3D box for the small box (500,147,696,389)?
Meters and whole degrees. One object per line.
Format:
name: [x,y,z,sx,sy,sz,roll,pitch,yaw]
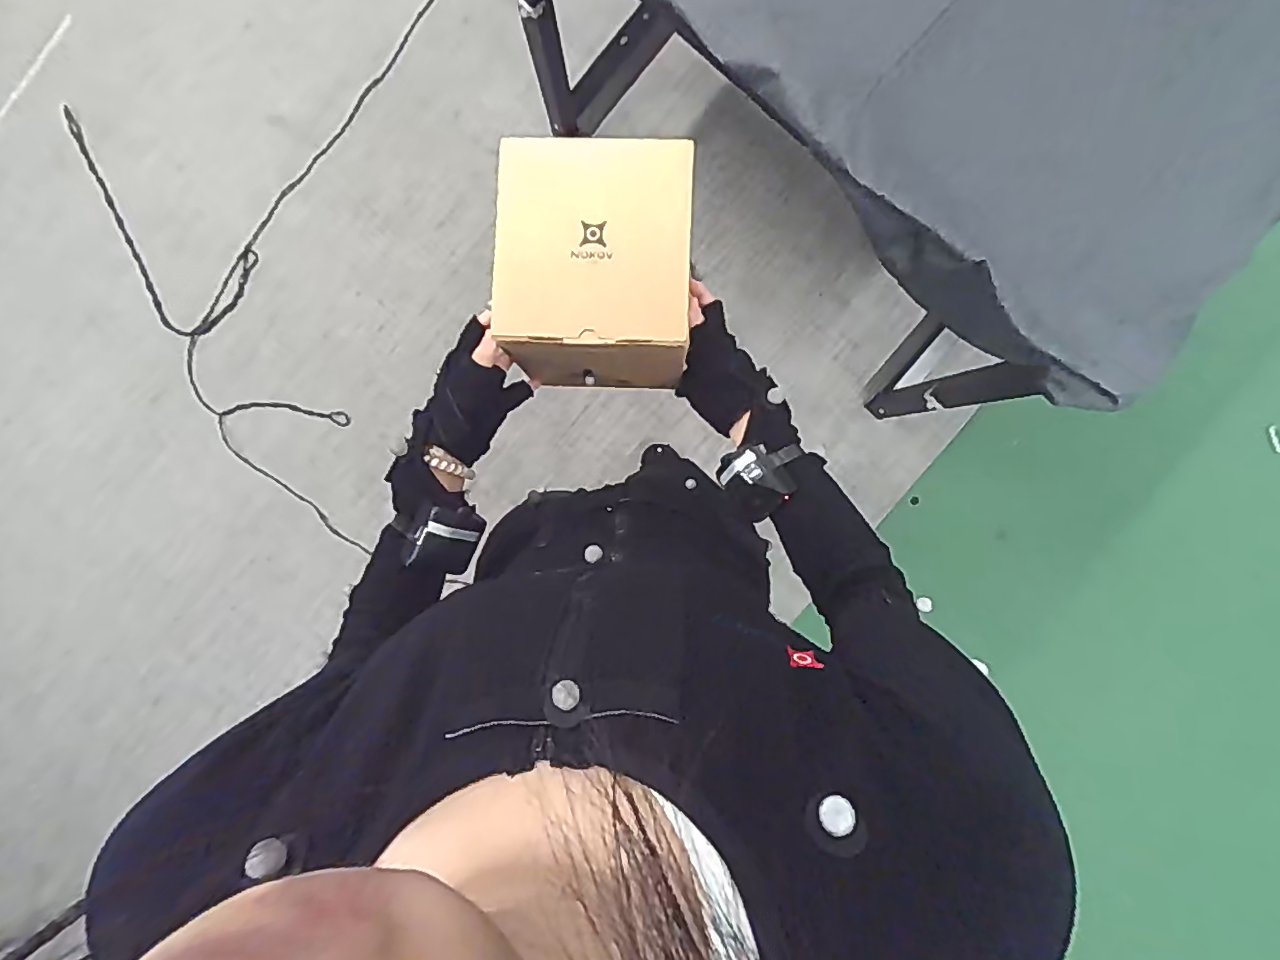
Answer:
small box: [-0.035,-0.199,0.548,0.168,0.176,0.179,2,88,2]
